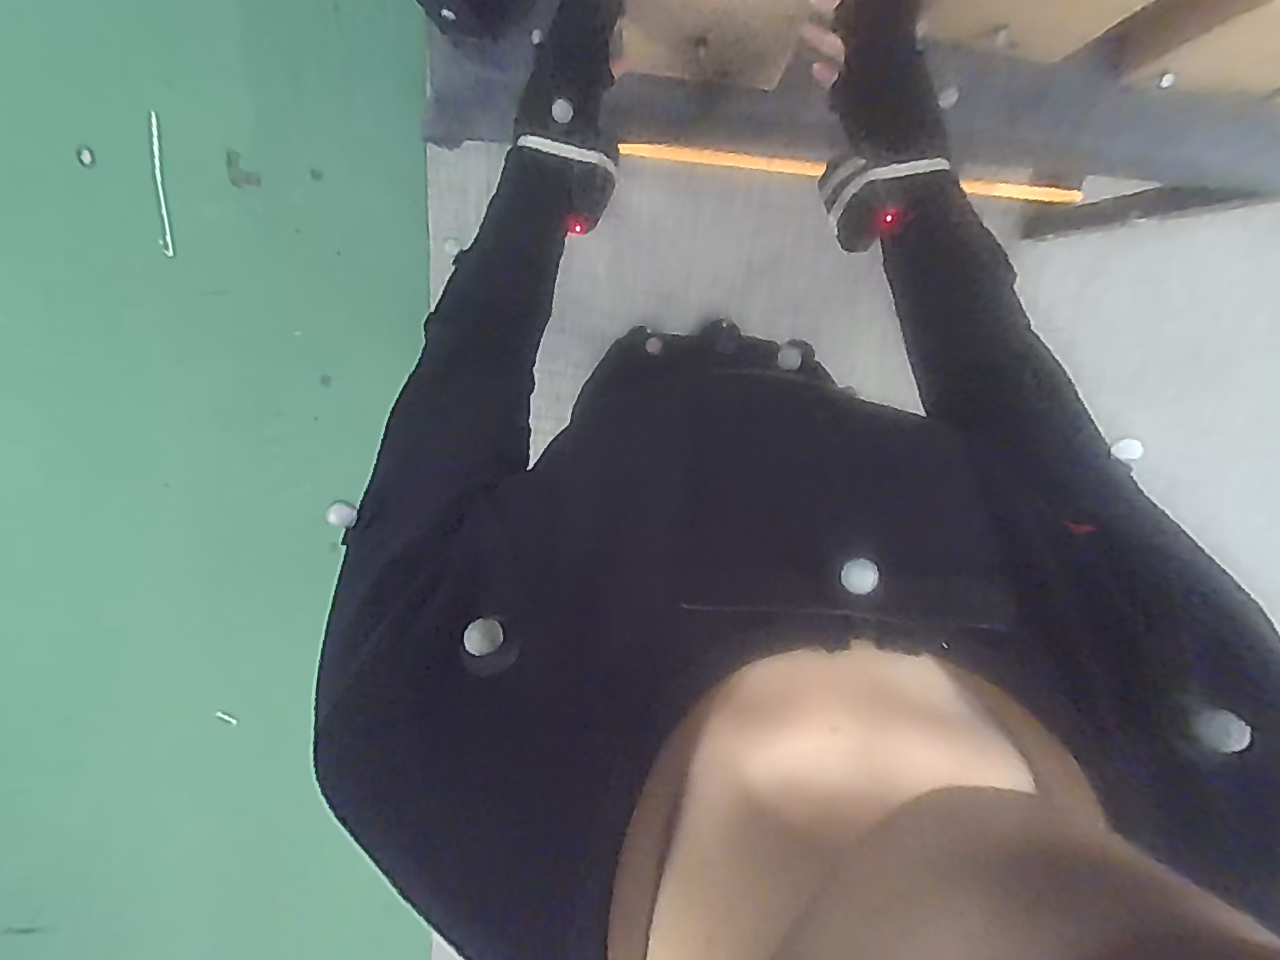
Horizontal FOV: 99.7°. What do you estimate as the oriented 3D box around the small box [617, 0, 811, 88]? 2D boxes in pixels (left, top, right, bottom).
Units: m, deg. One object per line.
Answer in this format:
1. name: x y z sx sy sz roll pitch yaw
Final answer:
1. small box: 0.073 -0.495 0.492 0.168 0.176 0.179 7 104 -1
